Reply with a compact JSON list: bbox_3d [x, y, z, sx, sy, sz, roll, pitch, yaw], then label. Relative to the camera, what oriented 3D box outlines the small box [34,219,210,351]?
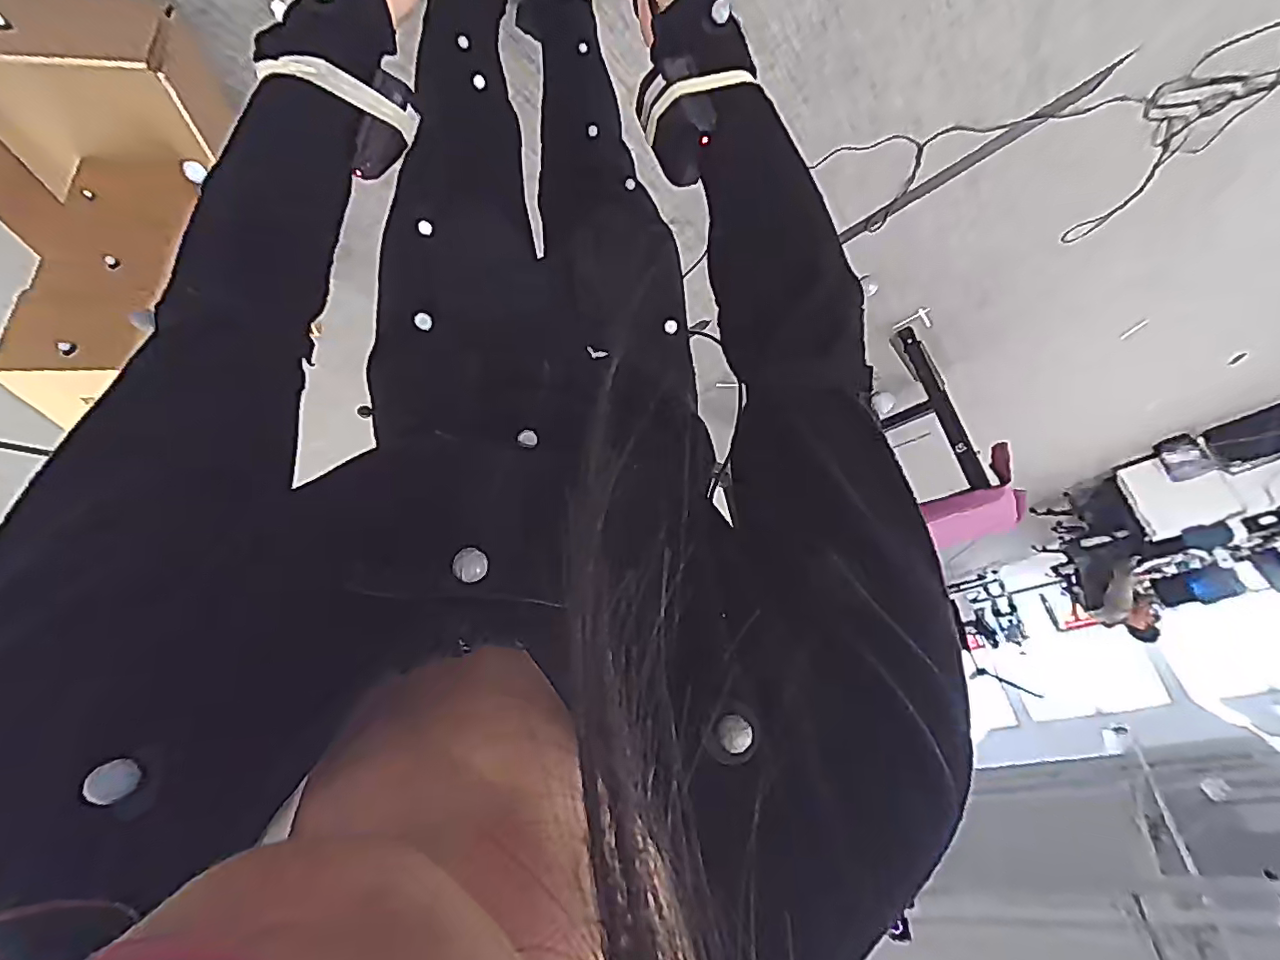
[{"bbox_3d":[-0.929,-0.354,0.994,0.179,0.176,0.168,-4,155,-15],"label":"small box"}]

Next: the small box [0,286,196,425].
[{"bbox_3d":[-0.907,-0.210,0.920,0.179,0.176,0.168,-4,155,-14],"label":"small box"}]
